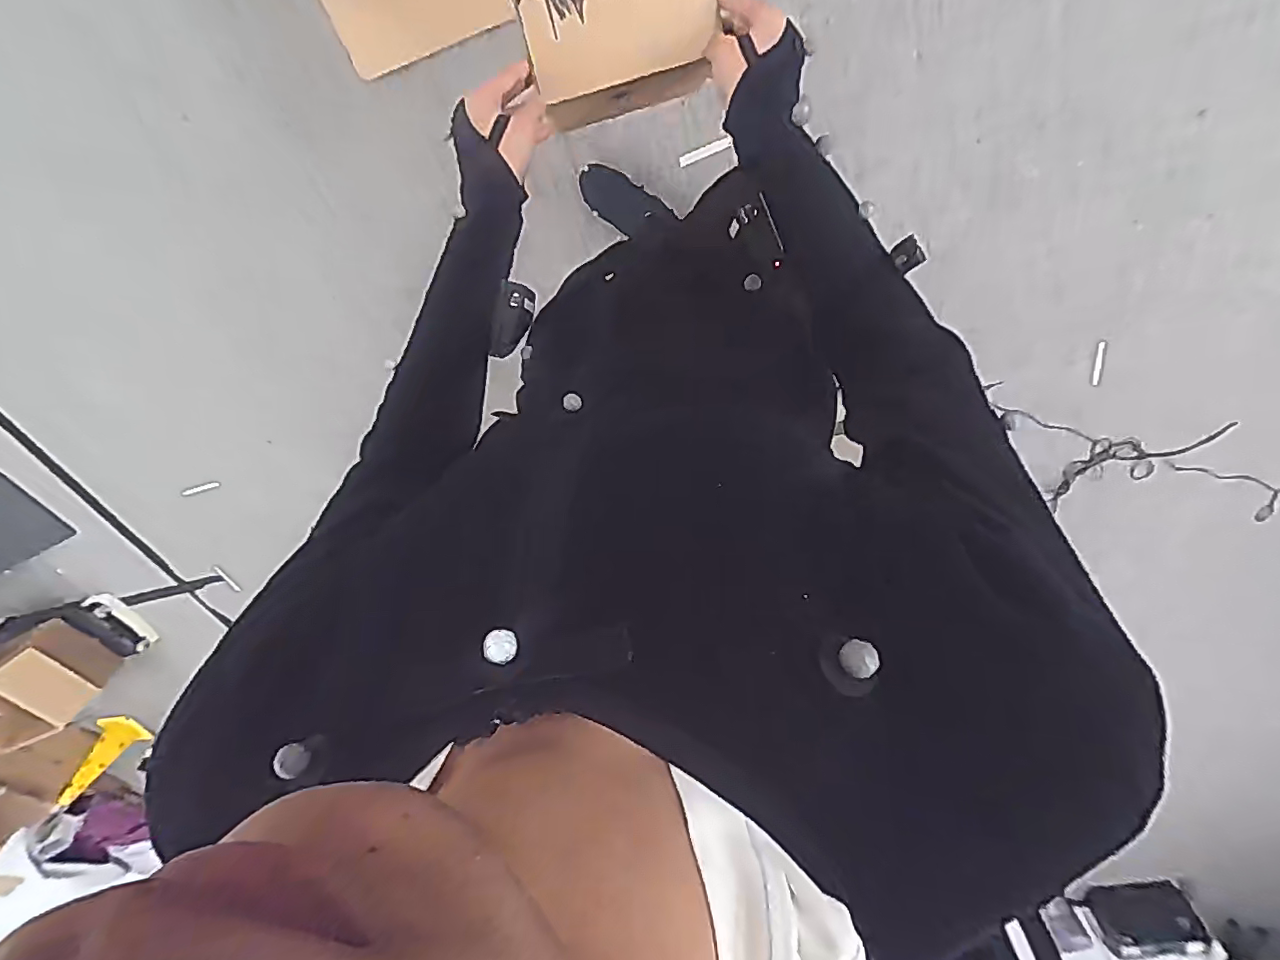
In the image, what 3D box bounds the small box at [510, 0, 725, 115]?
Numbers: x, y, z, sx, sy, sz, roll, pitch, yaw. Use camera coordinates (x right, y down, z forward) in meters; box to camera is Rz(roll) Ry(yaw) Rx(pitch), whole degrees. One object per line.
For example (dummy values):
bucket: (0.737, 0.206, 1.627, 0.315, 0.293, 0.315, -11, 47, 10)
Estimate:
small box: (-0.032, -0.471, 0.511, 0.179, 0.176, 0.168, -15, 116, 4)
